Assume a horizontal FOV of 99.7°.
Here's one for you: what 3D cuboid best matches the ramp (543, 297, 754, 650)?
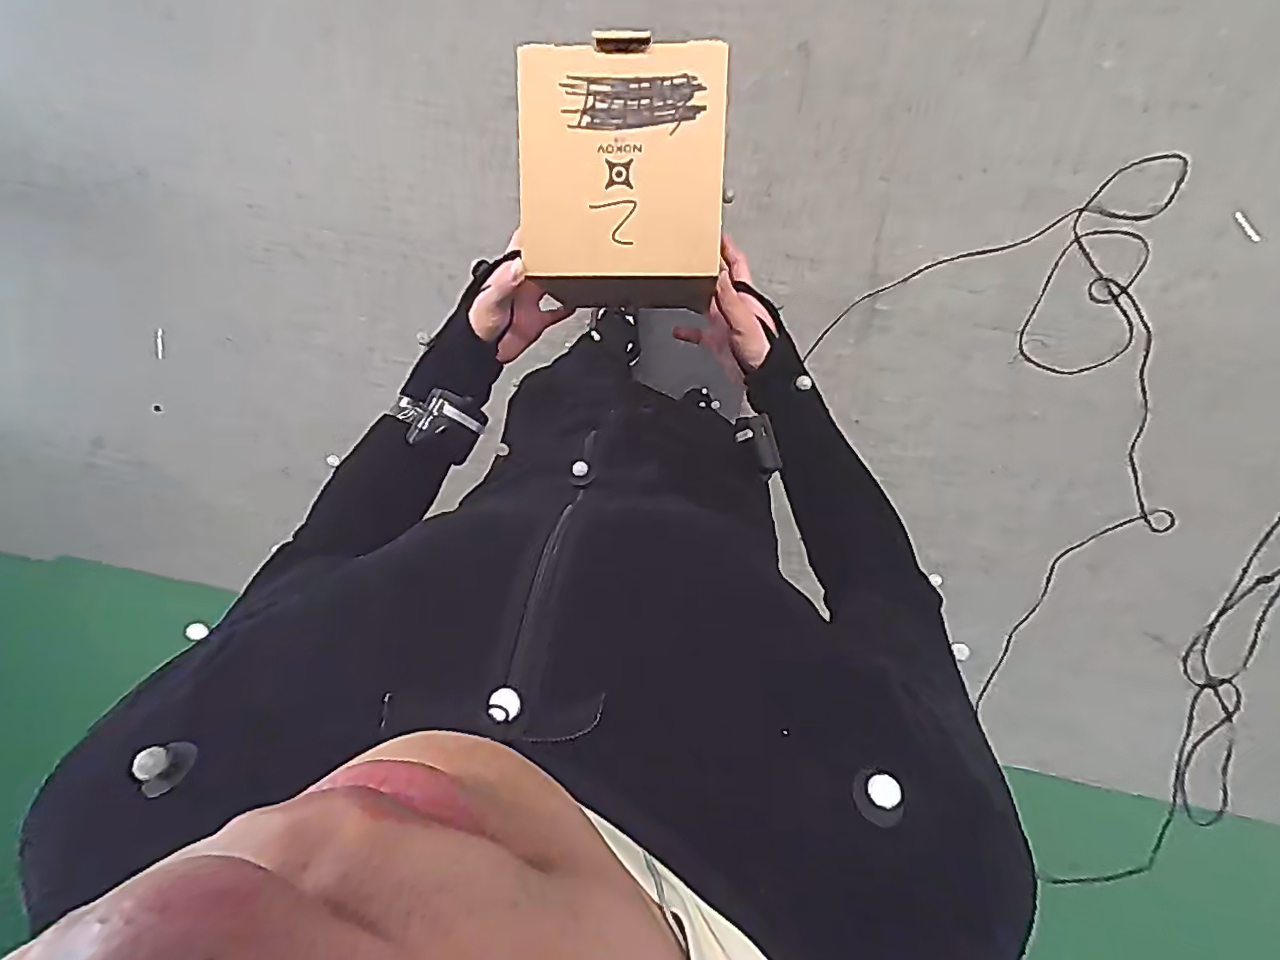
[{"bbox_3d":[0.018,-0.023,1.615,0.509,0.206,0.991,8,102,7],"label":"ramp"}]
